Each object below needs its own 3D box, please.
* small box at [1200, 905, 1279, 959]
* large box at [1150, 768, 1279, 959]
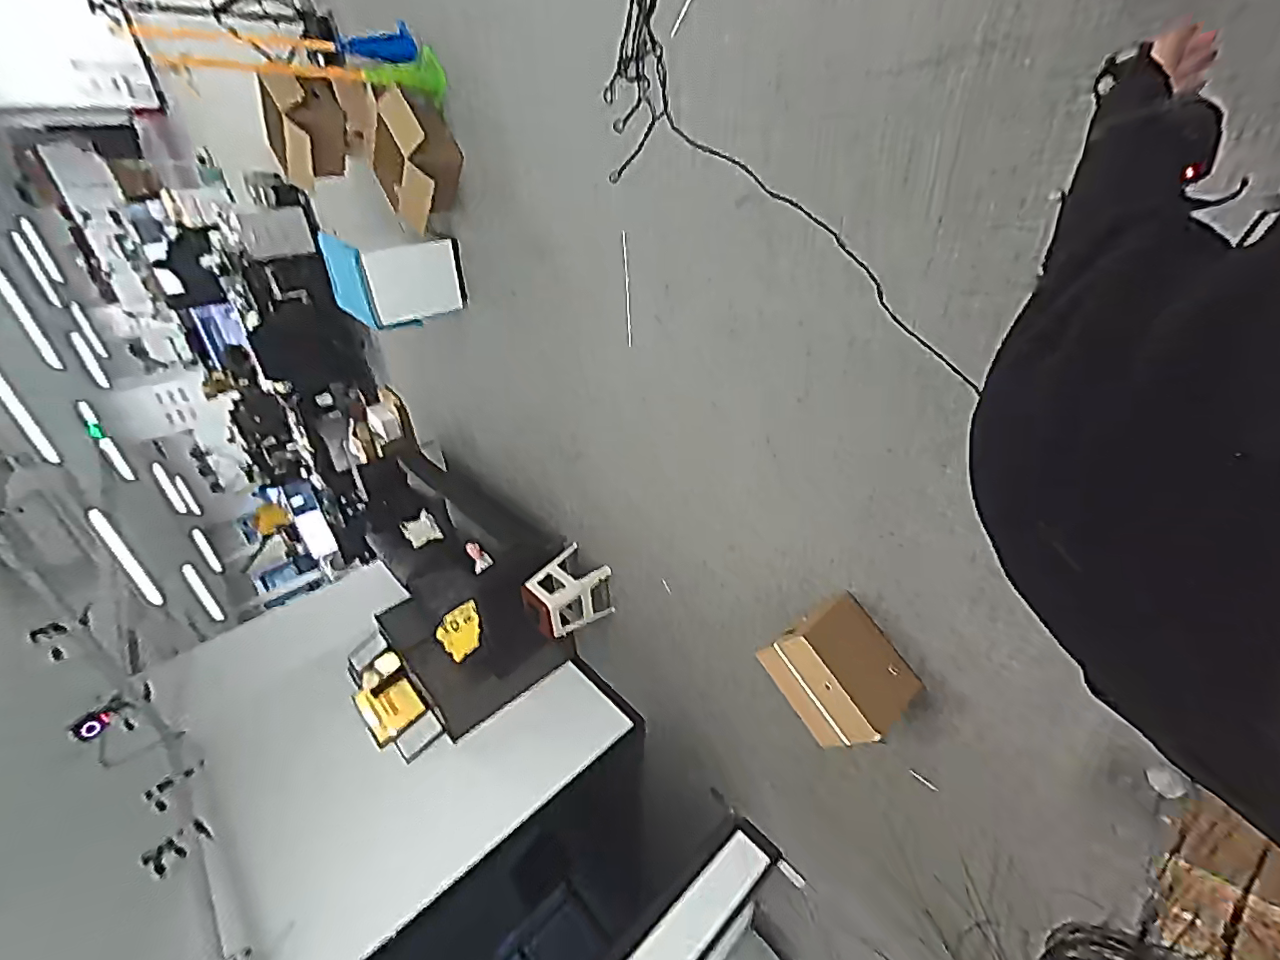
[{"bbox_3d":[1.248,1.010,1.075,0.168,0.176,0.179,22,129,45],"label":"small box"},{"bbox_3d":[1.452,0.949,1.206,0.408,0.320,0.320,14,124,47],"label":"large box"}]
